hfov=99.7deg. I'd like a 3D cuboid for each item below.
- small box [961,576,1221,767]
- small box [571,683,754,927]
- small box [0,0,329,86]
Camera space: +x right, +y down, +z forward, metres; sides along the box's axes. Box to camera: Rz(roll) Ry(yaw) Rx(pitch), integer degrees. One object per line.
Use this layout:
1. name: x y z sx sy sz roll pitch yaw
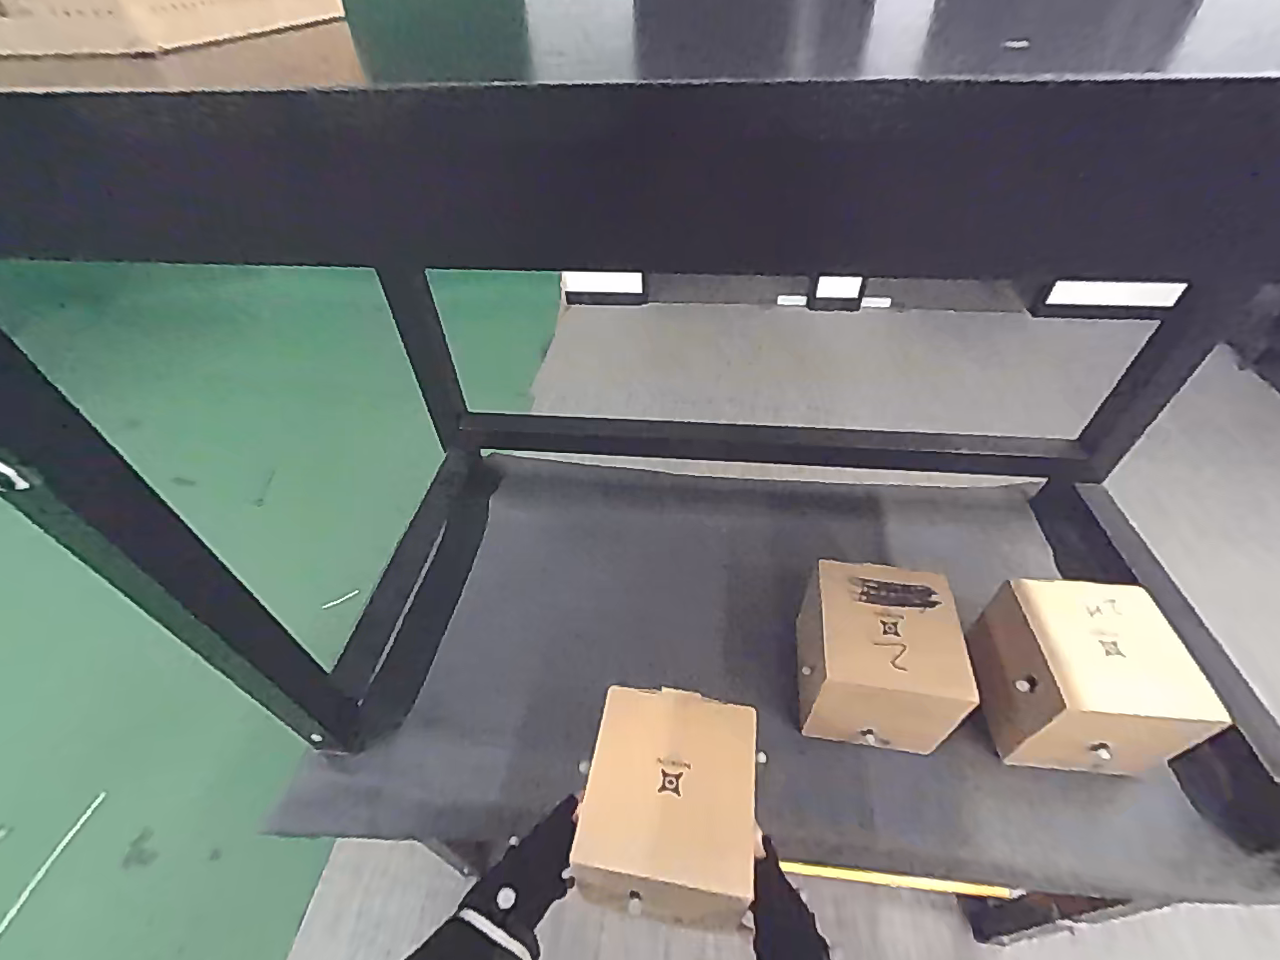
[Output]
1. small box: 0.551 0.248 0.697 0.168 0.176 0.179 3 44 5
2. small box: 0.032 0.356 0.594 0.168 0.176 0.179 6 40 8
3. small box: -0.279 -0.299 0.246 0.168 0.176 0.179 3 46 5
